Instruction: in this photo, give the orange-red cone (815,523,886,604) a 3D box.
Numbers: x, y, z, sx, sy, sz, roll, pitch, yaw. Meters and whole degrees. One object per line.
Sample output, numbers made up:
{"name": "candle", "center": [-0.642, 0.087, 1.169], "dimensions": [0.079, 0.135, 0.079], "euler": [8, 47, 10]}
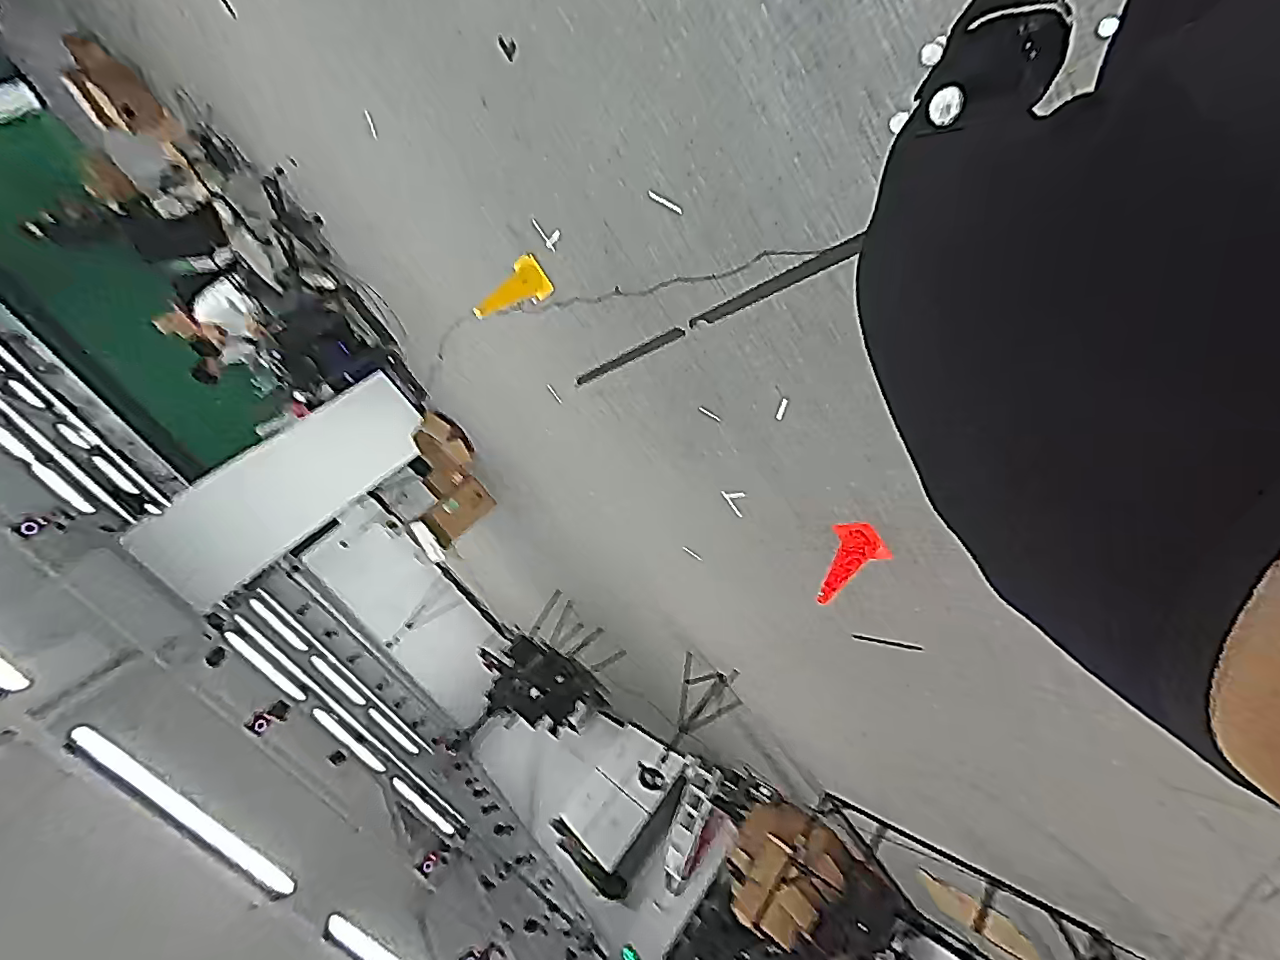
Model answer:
{"name": "orange-red cone", "center": [0.819, 0.366, 2.220], "dimensions": [0.198, 0.360, 0.199], "euler": [51, 152, -13]}
